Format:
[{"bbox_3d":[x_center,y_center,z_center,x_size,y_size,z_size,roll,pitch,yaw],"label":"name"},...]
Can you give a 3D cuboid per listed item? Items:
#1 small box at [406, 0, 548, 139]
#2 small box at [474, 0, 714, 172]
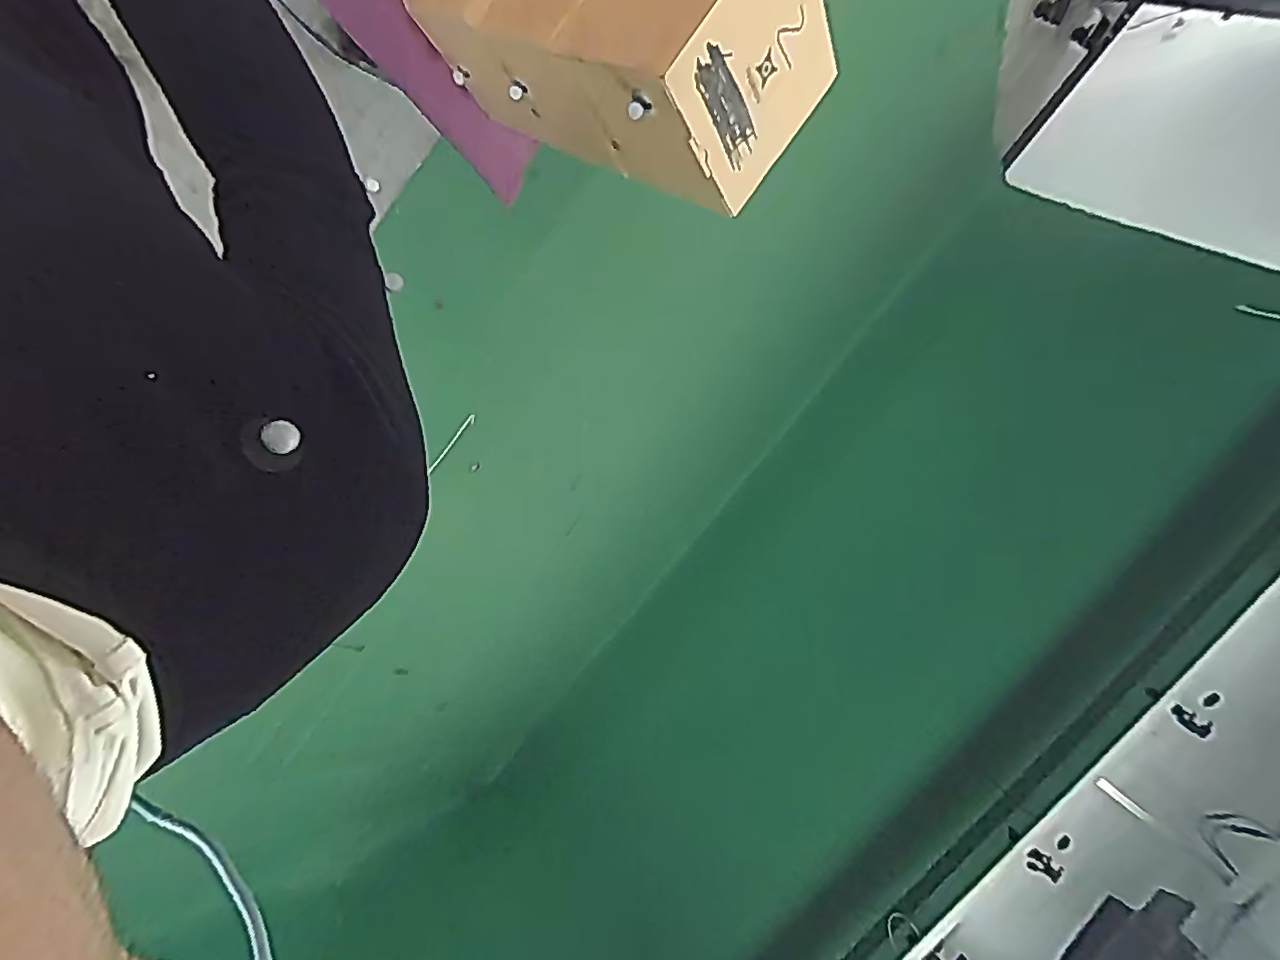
[{"bbox_3d":[-0.160,-0.592,0.694,0.168,0.176,0.179,-50,150,3],"label":"small box"},{"bbox_3d":[-0.052,-0.501,0.613,0.179,0.176,0.168,-50,148,3],"label":"small box"}]
